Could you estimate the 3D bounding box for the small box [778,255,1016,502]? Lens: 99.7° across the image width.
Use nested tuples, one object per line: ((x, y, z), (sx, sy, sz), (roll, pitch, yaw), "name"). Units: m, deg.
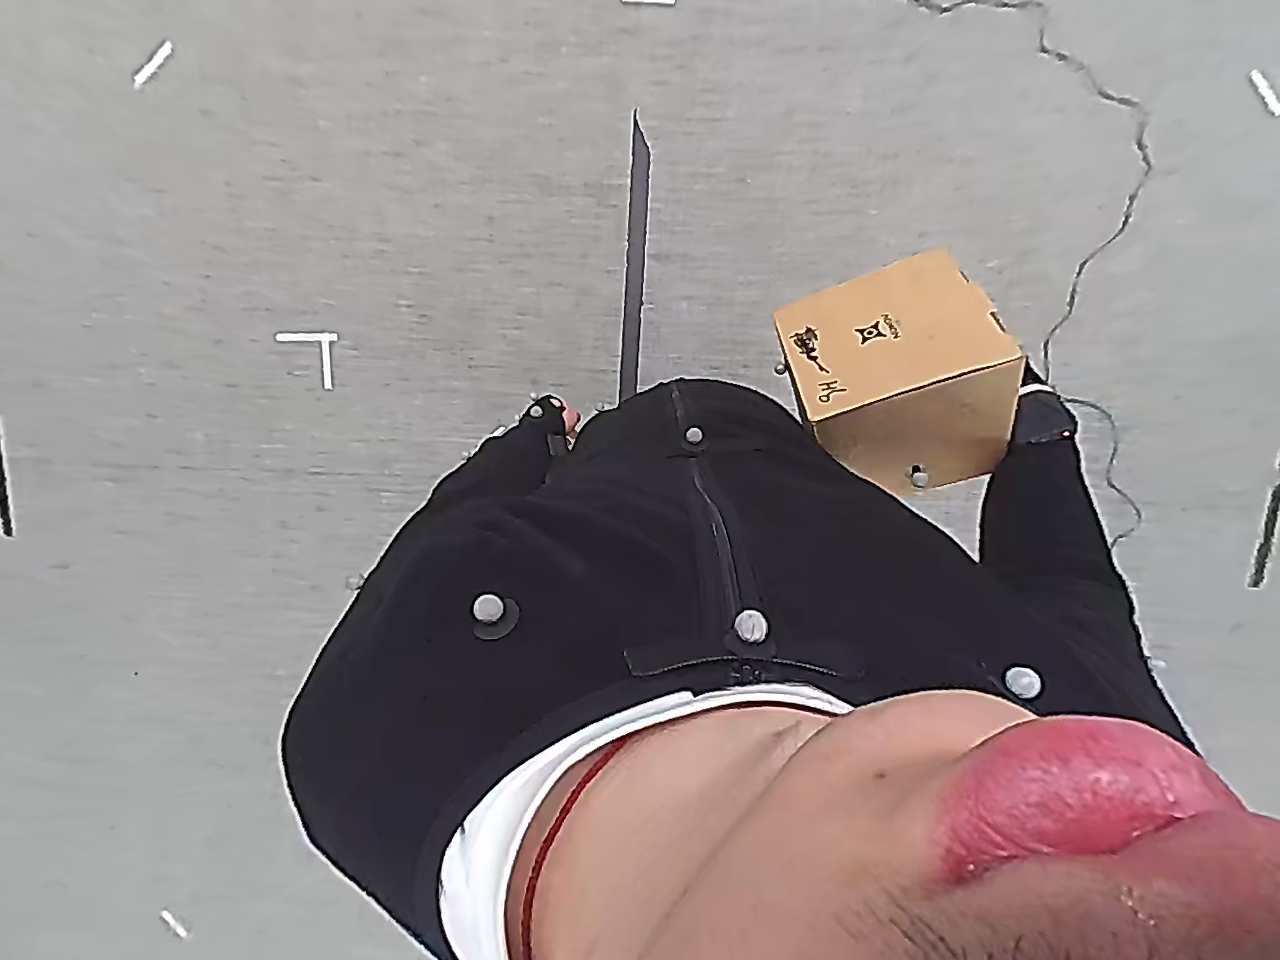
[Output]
((0.265, -0.100, 0.588), (0.179, 0.168, 0.176), (-17, 140, 16), "small box")
